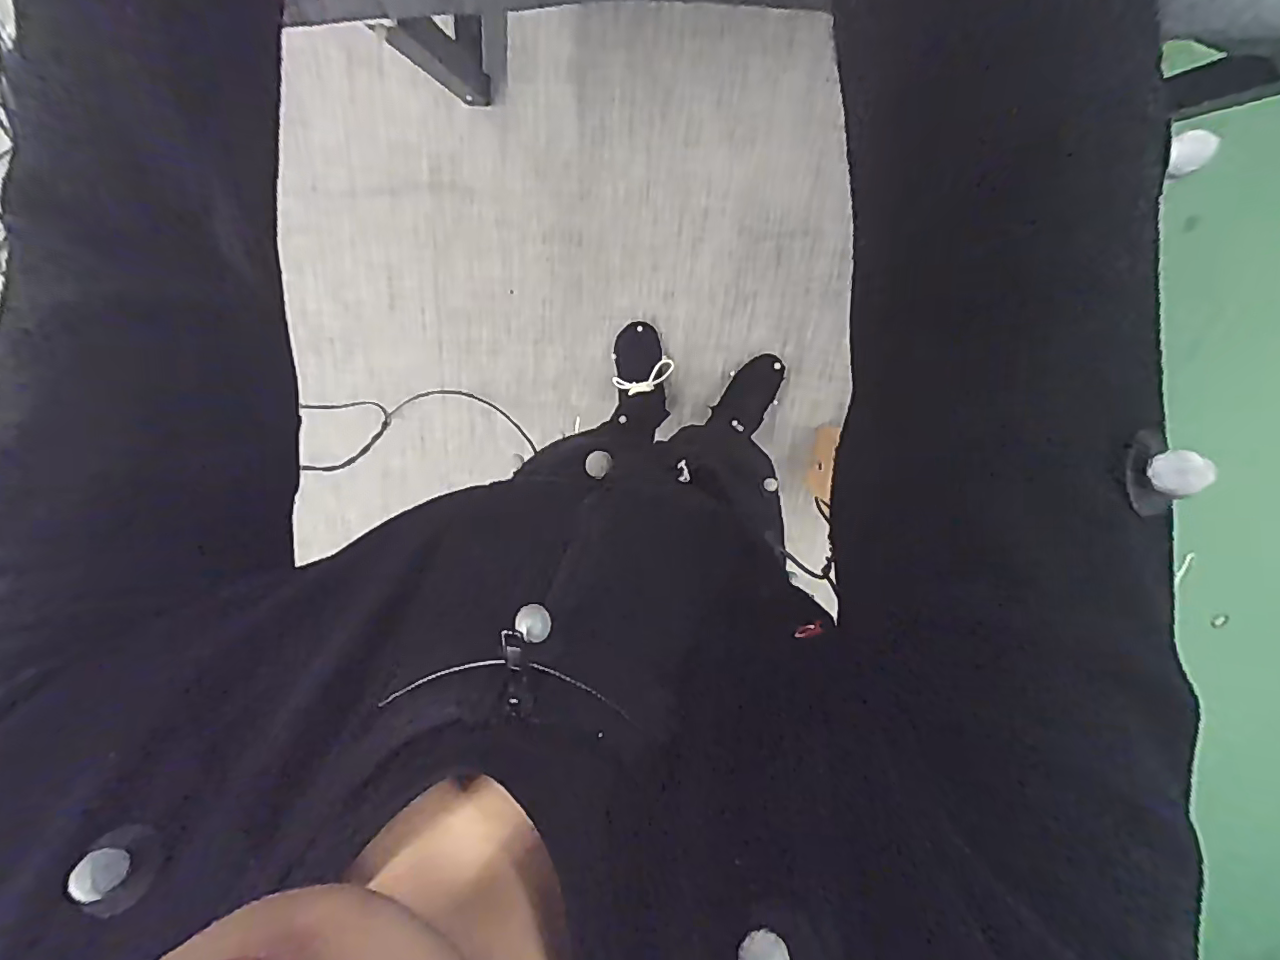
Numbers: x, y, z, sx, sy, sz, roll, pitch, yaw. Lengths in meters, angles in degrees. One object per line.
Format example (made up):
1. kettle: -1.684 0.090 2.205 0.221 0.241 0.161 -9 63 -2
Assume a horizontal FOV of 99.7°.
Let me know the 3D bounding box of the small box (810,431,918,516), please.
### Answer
1. small box: 0.521 -0.012 1.286 0.179 0.176 0.168 6 112 1
